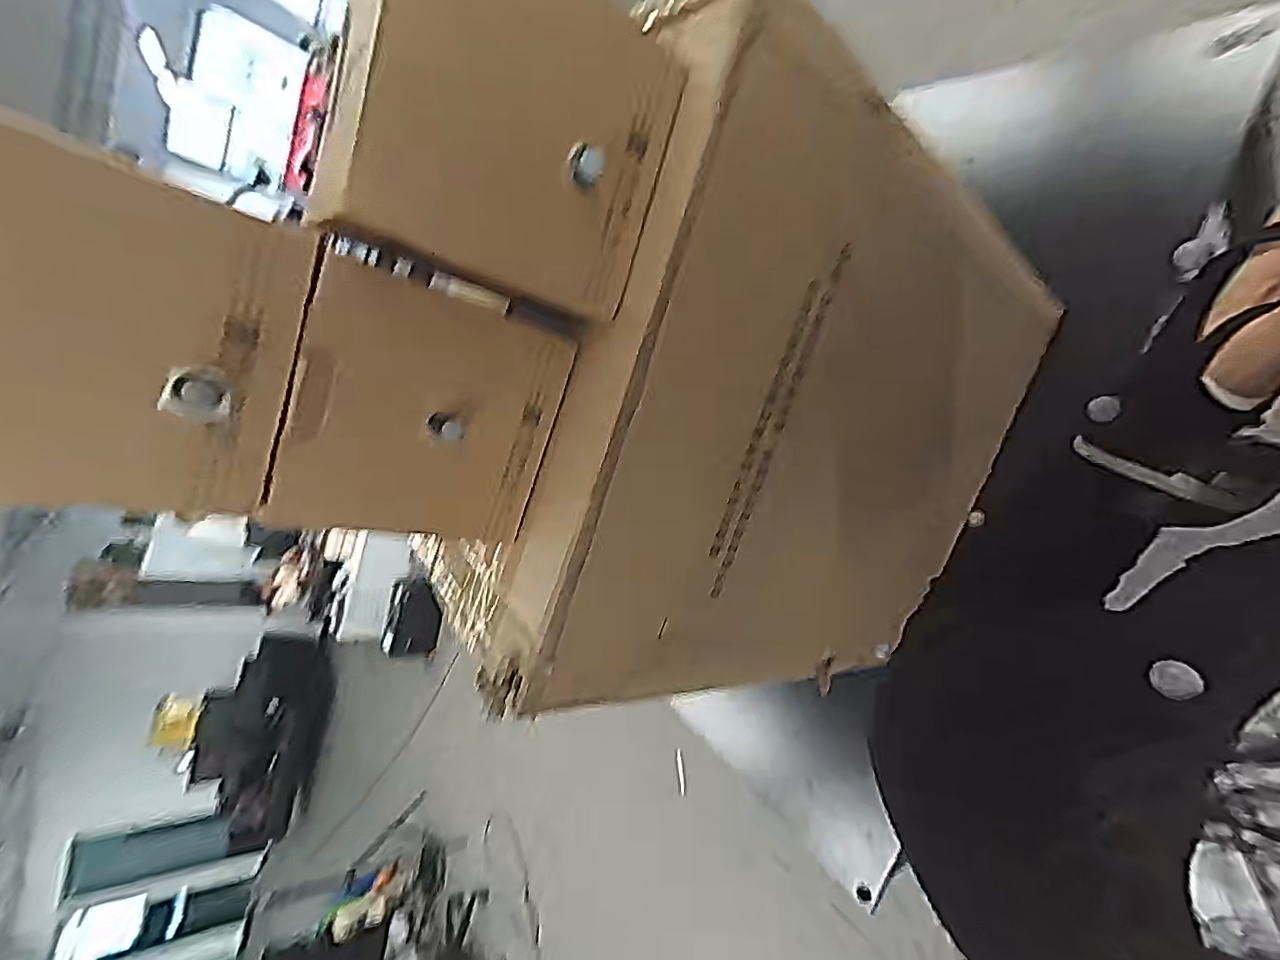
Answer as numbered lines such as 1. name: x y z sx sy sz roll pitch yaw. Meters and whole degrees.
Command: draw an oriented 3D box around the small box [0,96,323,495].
1. small box: -0.301 -0.098 0.309 0.179 0.176 0.168 29 105 47
